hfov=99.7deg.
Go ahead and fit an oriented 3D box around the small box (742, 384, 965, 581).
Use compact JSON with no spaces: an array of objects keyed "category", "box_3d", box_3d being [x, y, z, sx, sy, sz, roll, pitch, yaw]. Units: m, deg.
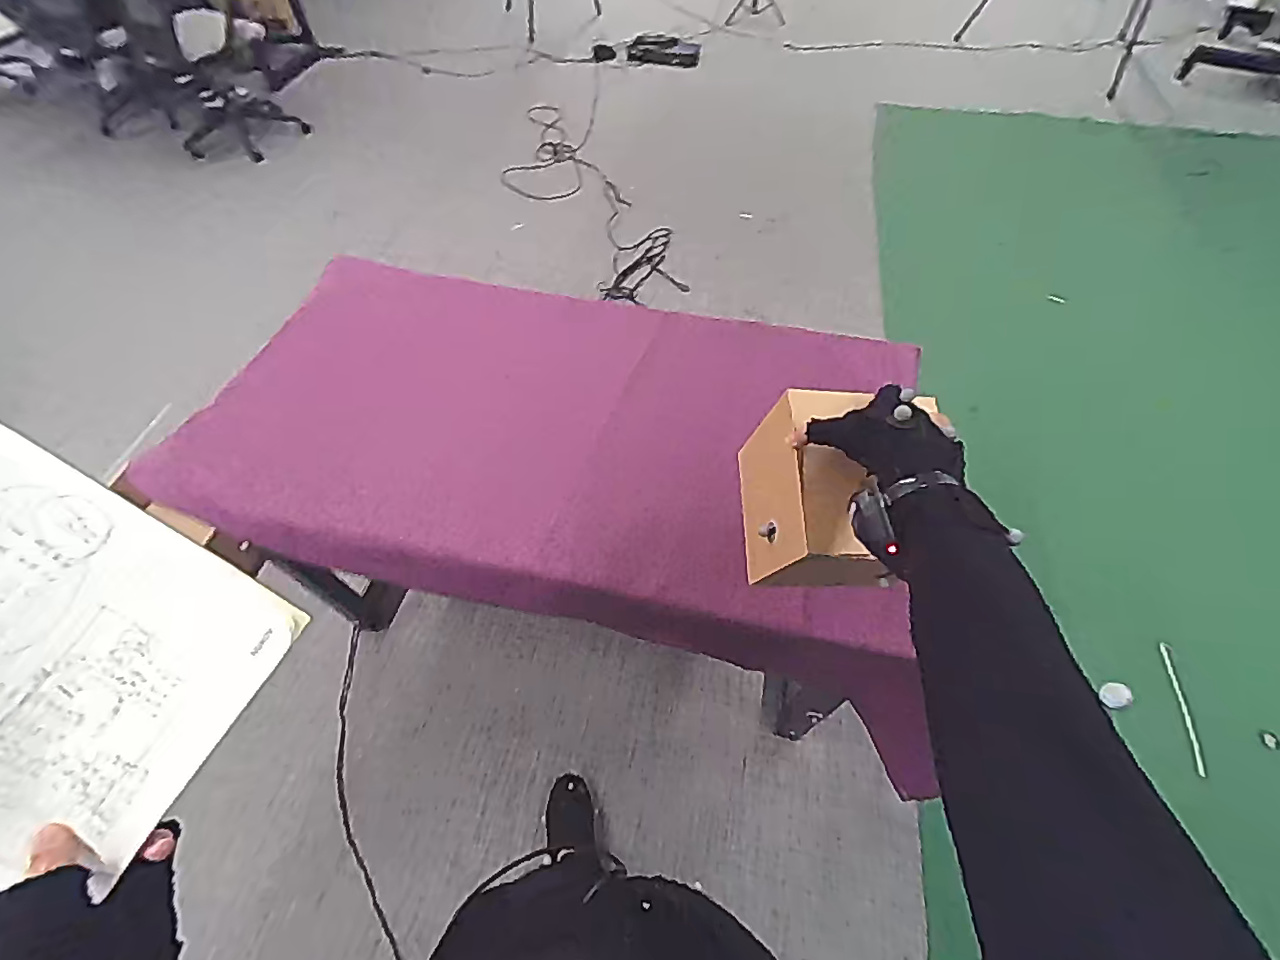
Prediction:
[{"category":"small box","box_3d":[0.220,0.014,0.609,0.168,0.176,0.179,3,69,-7]}]
